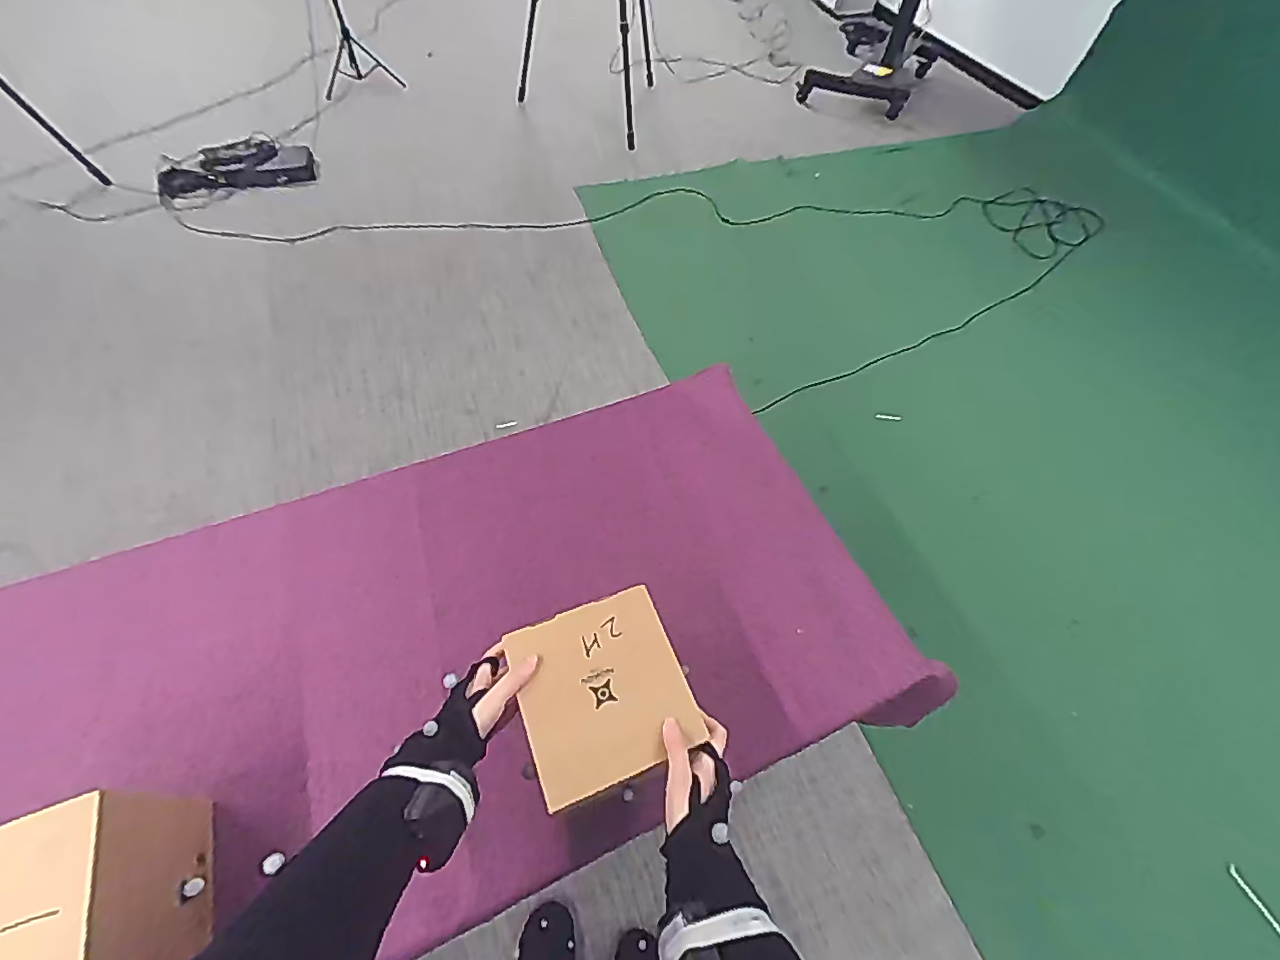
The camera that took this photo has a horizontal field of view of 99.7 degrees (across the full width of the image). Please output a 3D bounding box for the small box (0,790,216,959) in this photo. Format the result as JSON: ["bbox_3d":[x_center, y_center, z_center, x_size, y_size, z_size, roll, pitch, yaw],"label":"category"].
[{"bbox_3d":[-0.530,0.408,0.486,0.179,0.176,0.168,-17,59,-15],"label":"small box"}]
